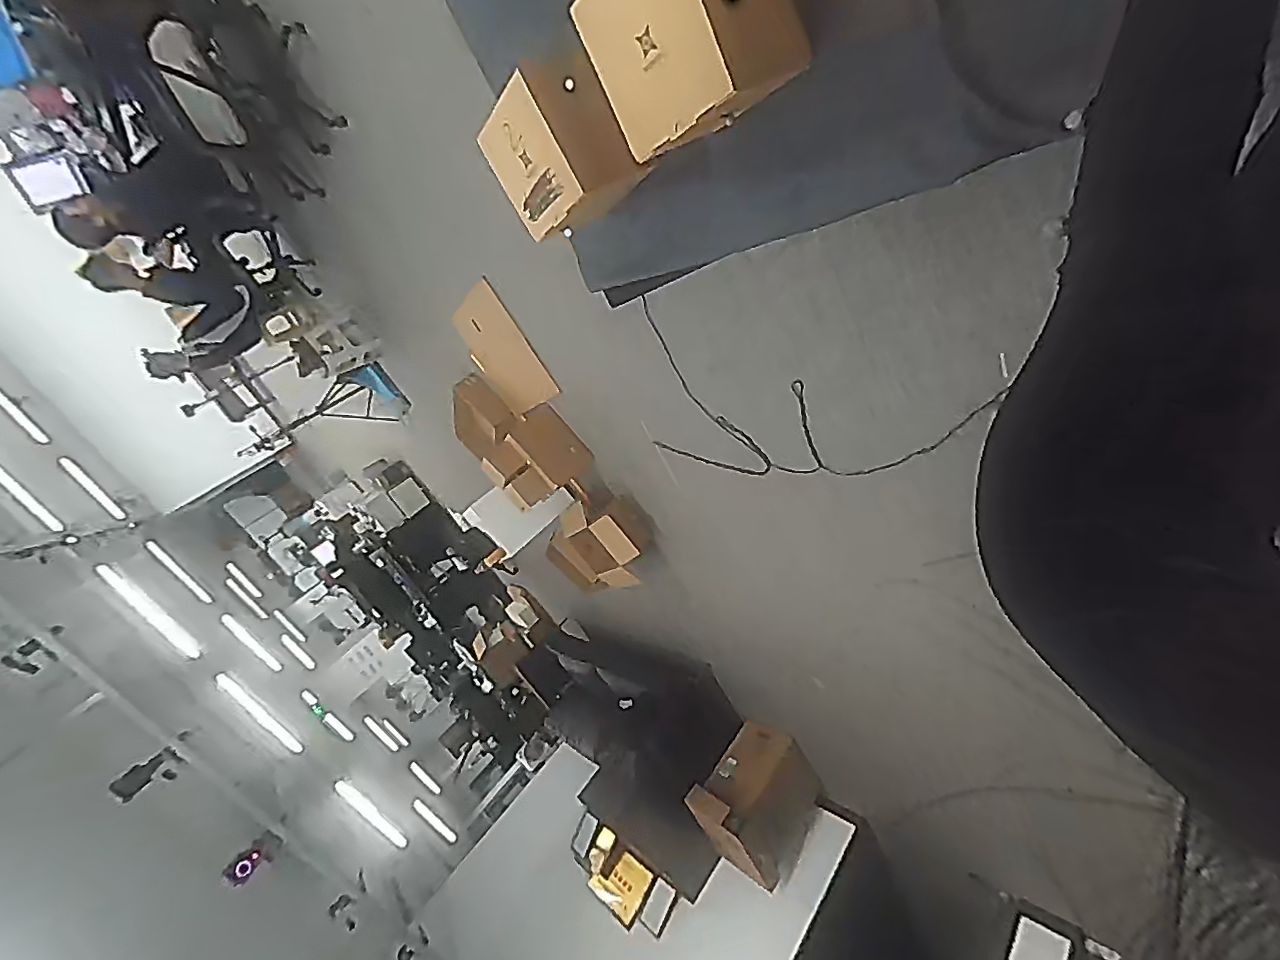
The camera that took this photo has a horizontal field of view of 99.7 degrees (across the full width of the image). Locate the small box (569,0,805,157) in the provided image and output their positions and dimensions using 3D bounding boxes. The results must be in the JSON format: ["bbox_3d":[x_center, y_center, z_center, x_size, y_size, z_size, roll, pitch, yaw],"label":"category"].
[{"bbox_3d":[0.059,-0.517,0.621,0.168,0.176,0.179,-1,127,51],"label":"small box"}]
